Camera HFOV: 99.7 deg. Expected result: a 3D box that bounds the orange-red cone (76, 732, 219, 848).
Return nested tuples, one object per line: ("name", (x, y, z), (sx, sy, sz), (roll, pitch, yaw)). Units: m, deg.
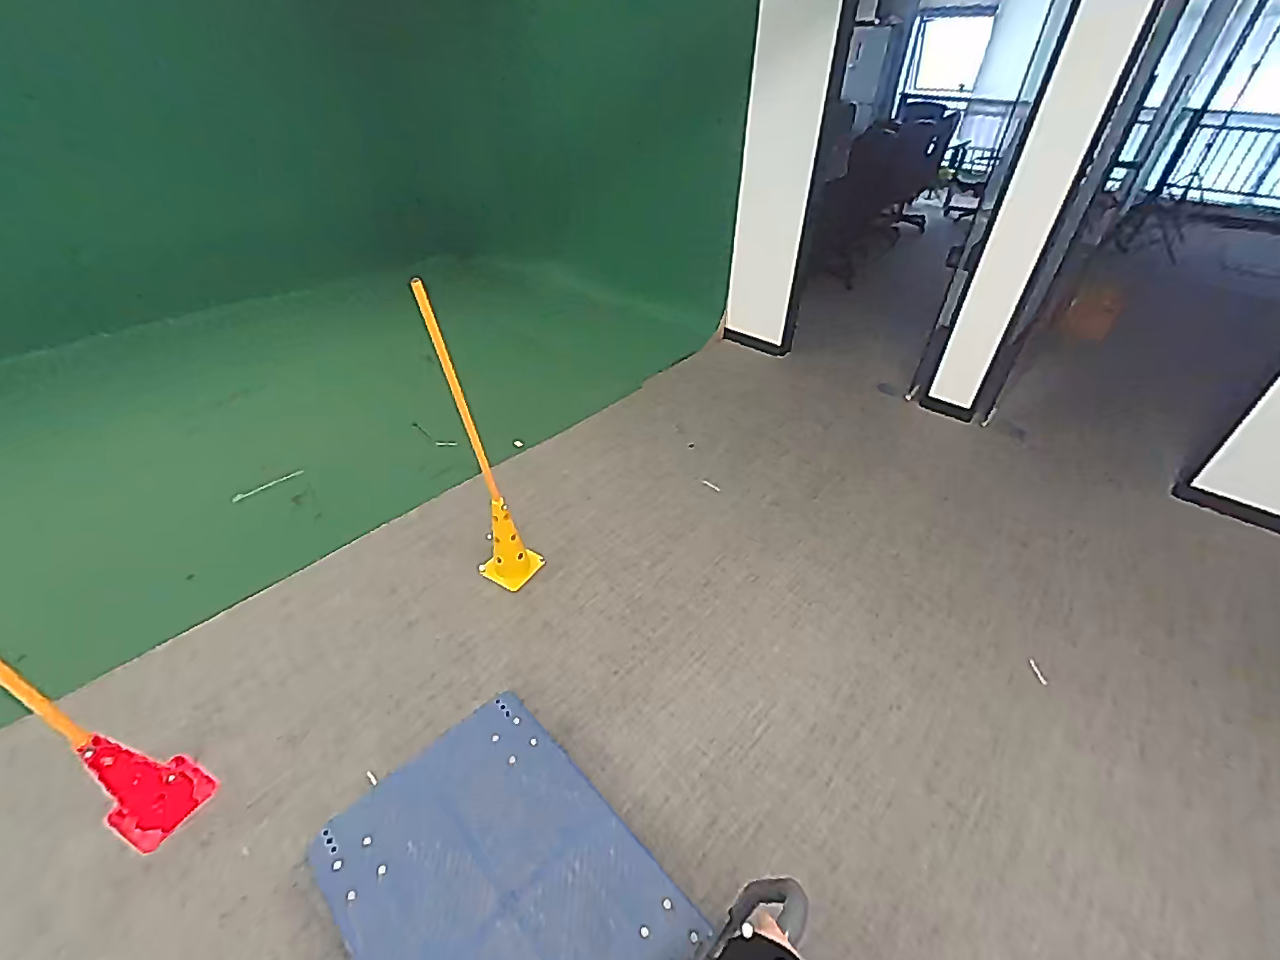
("orange-red cone", (-1.316, 0.752, 1.394), (0.198, 0.360, 0.199), (18, 44, 22))
